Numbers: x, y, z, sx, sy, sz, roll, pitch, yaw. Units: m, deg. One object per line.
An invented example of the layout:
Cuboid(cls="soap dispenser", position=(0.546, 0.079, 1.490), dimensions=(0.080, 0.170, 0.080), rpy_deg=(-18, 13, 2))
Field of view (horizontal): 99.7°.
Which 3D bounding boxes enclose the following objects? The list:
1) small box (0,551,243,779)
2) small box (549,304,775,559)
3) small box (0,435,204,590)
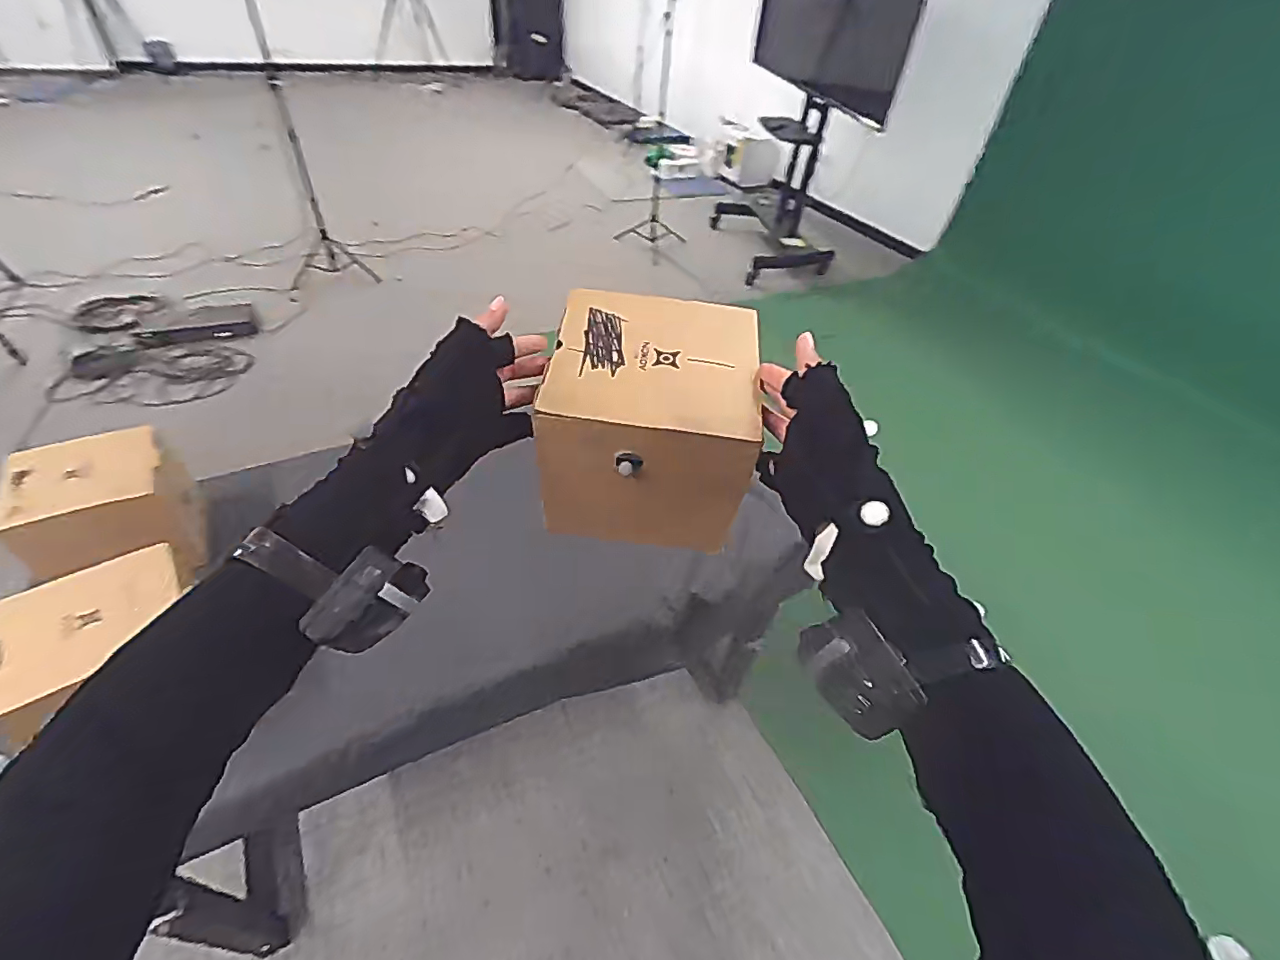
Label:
Cuboid(cls="small box", position=(-0.637, 0.227, 0.667), dimensions=(0.179, 0.176, 0.168), rpy_deg=(-25, 52, -31))
Cuboid(cls="small box", position=(0.018, -0.041, 0.517), dimensions=(0.179, 0.176, 0.168), rpy_deg=(9, 51, 0))
Cuboid(cls="small box", position=(-0.797, 0.061, 0.821), dimensions=(0.179, 0.176, 0.168), rpy_deg=(-17, 49, -25))
